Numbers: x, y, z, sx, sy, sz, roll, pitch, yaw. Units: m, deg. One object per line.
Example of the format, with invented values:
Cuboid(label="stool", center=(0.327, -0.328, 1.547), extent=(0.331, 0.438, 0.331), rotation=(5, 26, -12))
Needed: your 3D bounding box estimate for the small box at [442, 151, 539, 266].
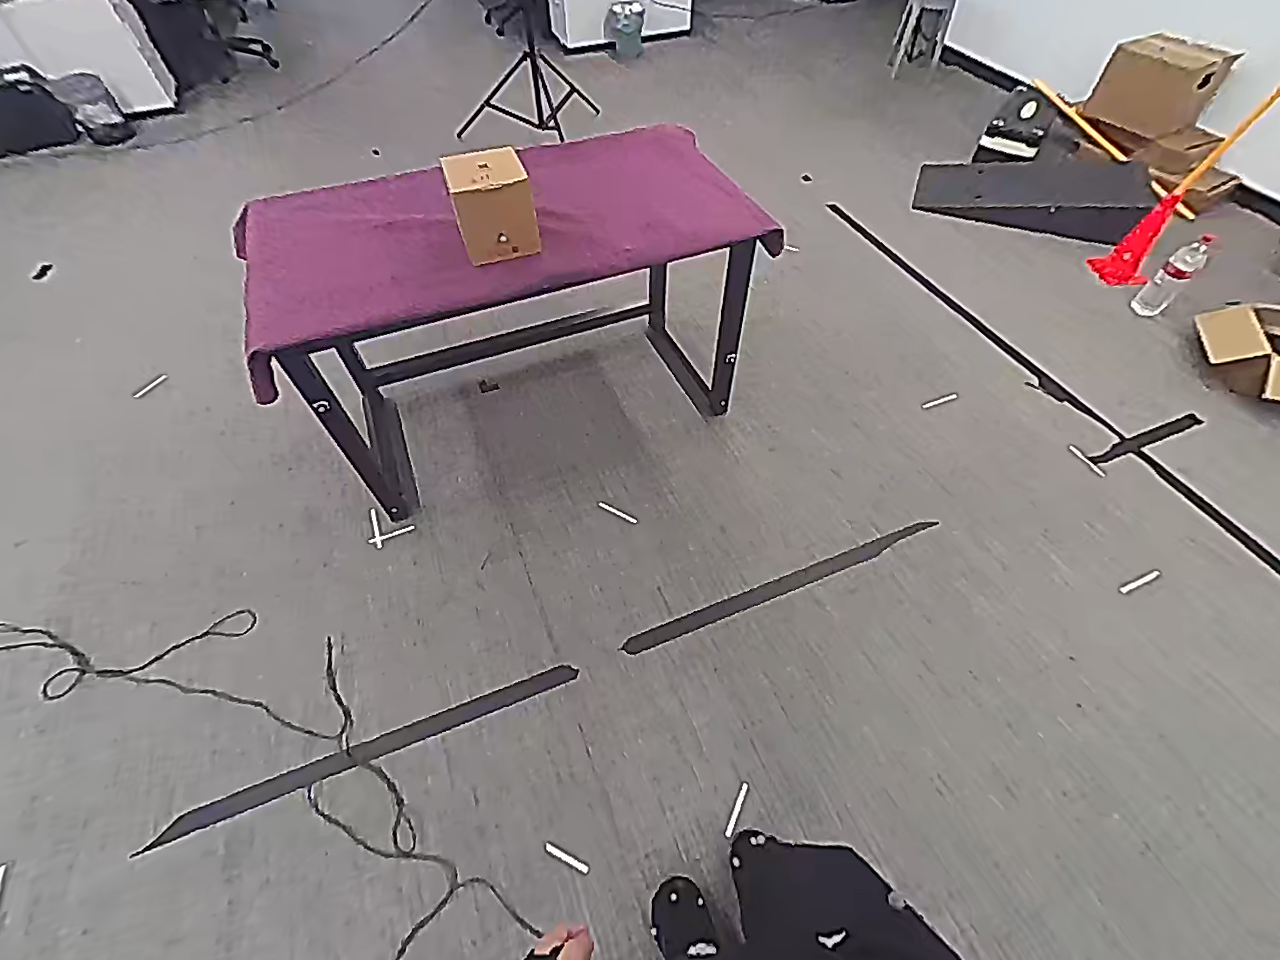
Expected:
Cuboid(label="small box", center=(-0.340, -0.621, 1.242), extent=(0.168, 0.176, 0.179), rotation=(-17, 55, -11))
